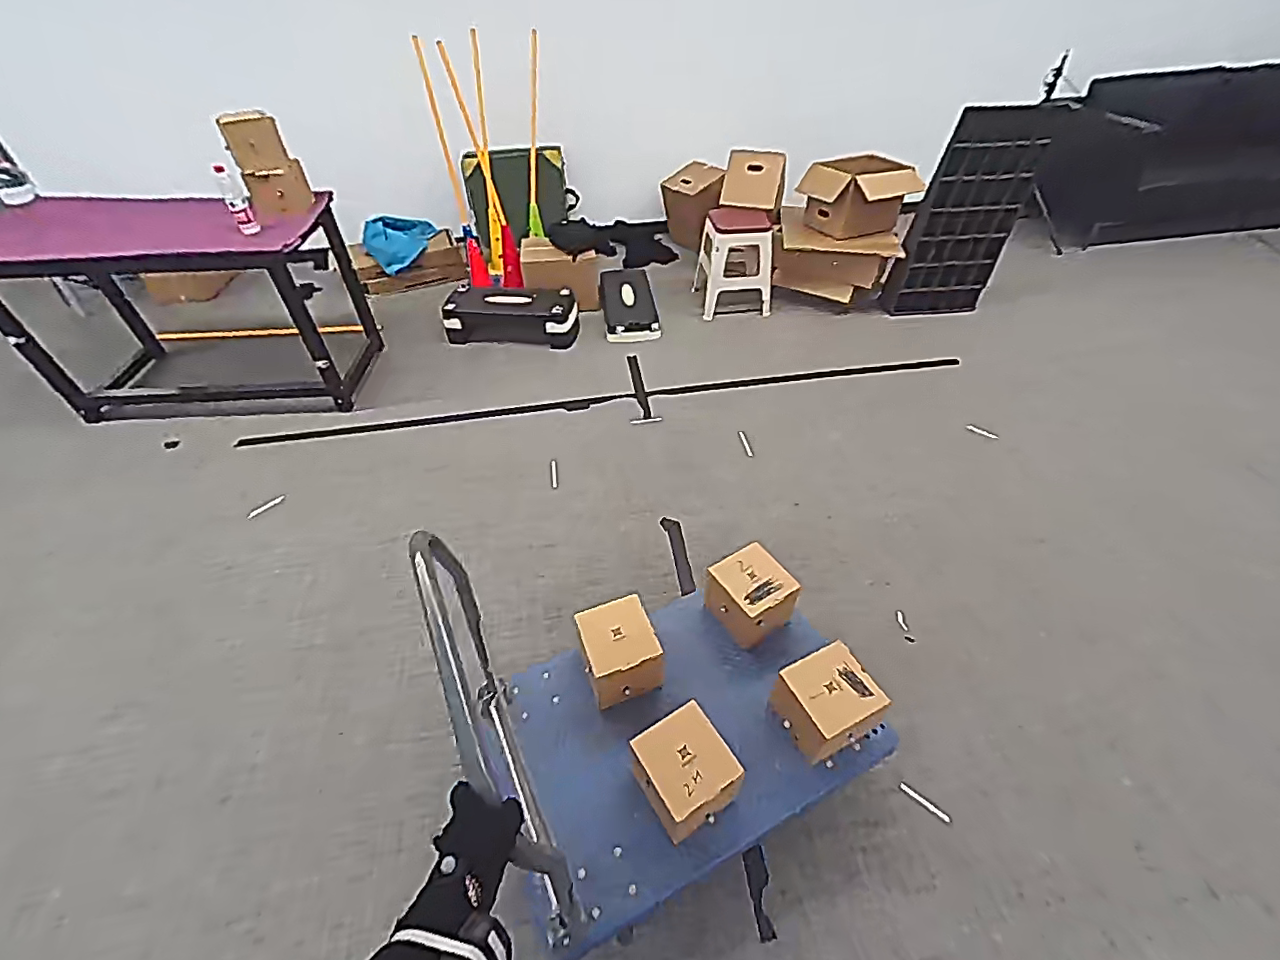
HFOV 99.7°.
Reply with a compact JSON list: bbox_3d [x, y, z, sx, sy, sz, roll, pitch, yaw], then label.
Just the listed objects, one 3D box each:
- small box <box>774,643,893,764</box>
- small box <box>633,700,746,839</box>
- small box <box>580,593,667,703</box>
[{"bbox_3d":[0.428,0.508,1.226,0.179,0.176,0.168,-19,48,-16],"label":"small box"},{"bbox_3d":[0.096,0.606,1.133,0.168,0.176,0.179,-24,49,-21],"label":"small box"},{"bbox_3d":[-0.045,0.414,1.329,0.168,0.176,0.179,-15,49,-15],"label":"small box"}]
